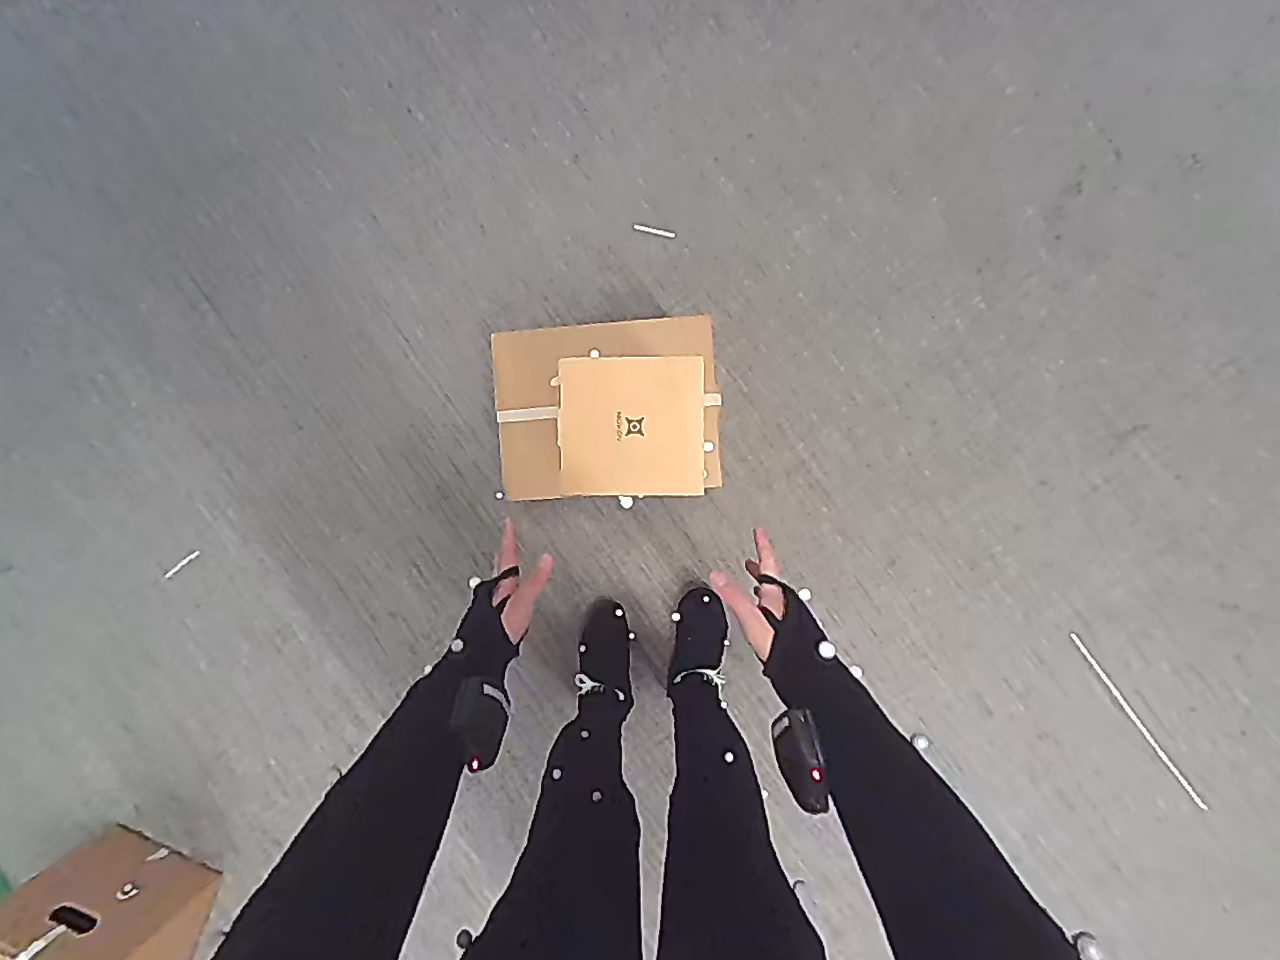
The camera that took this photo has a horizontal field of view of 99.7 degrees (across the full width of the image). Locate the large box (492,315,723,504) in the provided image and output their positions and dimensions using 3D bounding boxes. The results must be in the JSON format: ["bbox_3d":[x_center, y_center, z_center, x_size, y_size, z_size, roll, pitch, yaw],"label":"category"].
[{"bbox_3d":[-0.050,-0.127,1.118,0.408,0.320,0.320,-4,90,5],"label":"large box"}]

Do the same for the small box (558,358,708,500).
[{"bbox_3d":[-0.004,-0.064,0.707,0.179,0.176,0.168,0,92,5],"label":"small box"}]
